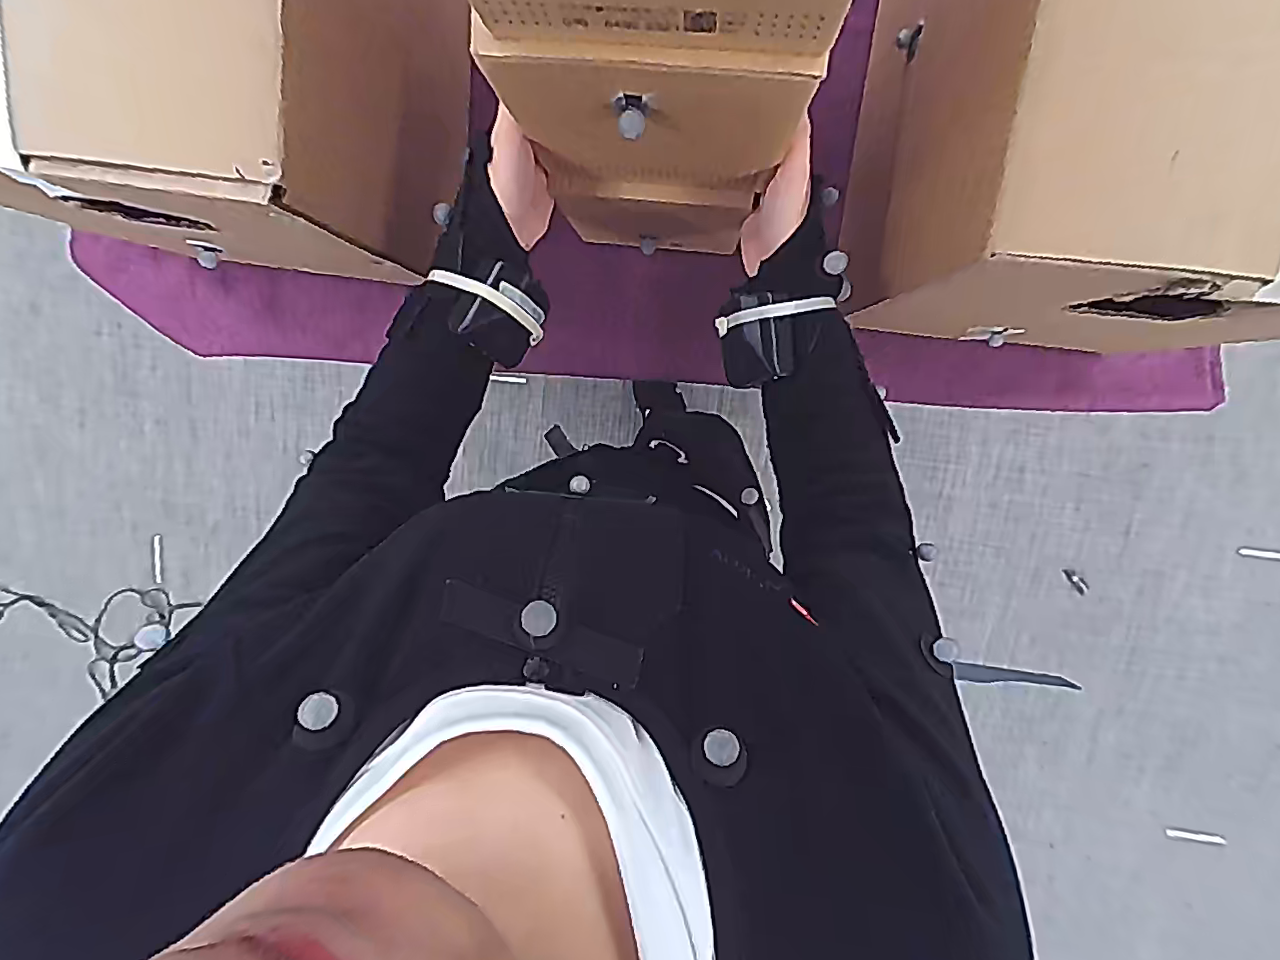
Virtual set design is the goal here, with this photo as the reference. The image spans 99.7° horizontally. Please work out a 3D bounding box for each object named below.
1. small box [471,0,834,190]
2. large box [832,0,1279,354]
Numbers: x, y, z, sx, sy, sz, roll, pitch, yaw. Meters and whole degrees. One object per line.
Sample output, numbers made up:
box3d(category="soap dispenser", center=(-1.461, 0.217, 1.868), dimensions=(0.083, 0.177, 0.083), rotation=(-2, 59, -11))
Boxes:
box3d(category="small box", center=(0.016, -0.293, 0.327), dimensions=(0.179, 0.176, 0.168), rotation=(6, 101, 4))
box3d(category="large box", center=(0.365, -0.321, 0.413), dimensions=(0.320, 0.320, 0.408), rotation=(6, 98, 1))
